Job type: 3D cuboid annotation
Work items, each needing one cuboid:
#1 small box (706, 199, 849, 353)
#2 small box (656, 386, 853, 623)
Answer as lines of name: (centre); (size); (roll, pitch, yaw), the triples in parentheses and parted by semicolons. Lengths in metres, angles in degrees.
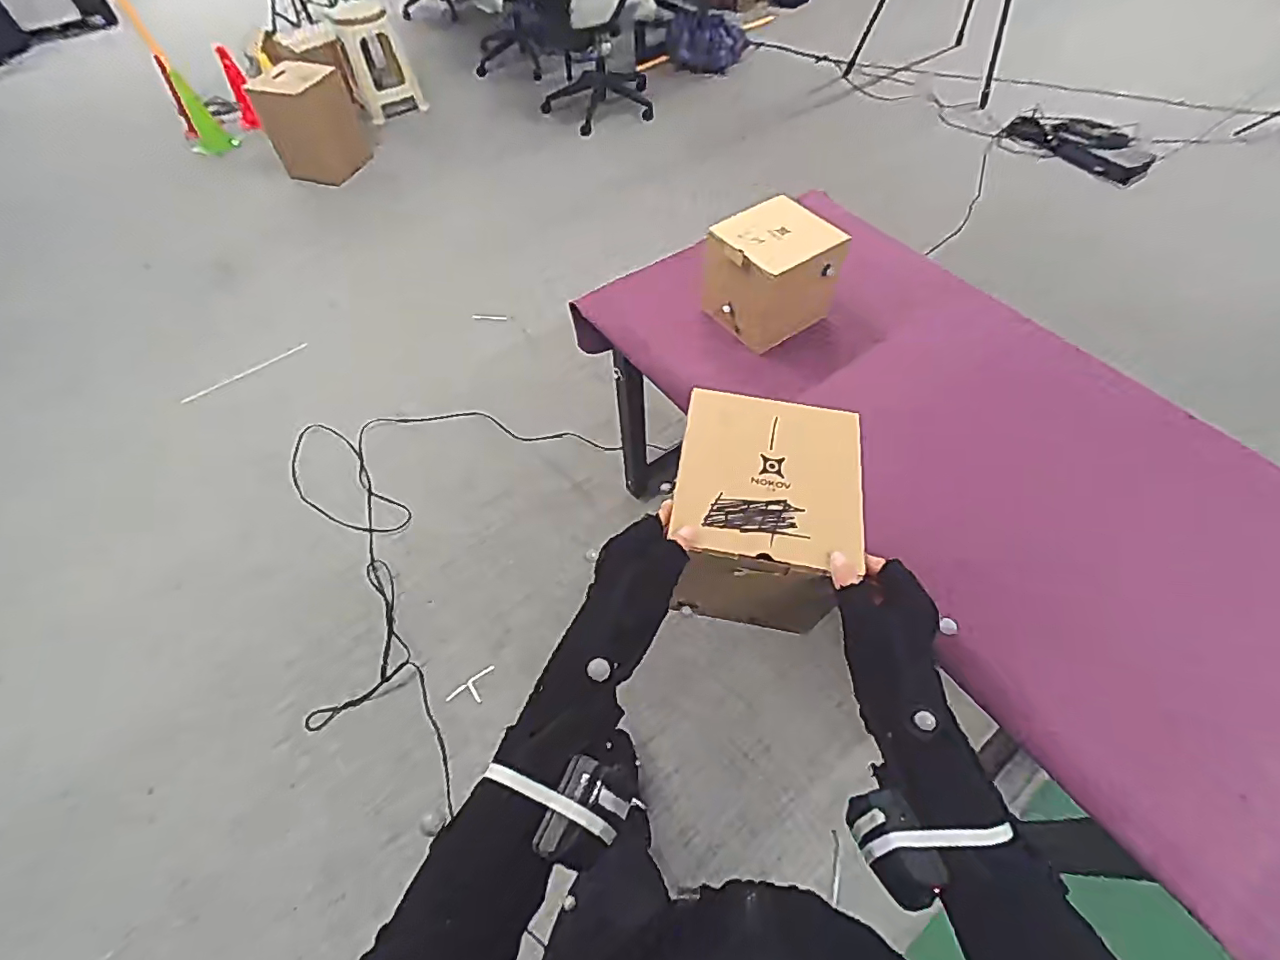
small box: (0.234, -0.364, 0.973); (0.179, 0.176, 0.168); (-32, 61, -17)
small box: (0.110, 0.032, 0.561); (0.168, 0.176, 0.179); (10, 58, 4)
